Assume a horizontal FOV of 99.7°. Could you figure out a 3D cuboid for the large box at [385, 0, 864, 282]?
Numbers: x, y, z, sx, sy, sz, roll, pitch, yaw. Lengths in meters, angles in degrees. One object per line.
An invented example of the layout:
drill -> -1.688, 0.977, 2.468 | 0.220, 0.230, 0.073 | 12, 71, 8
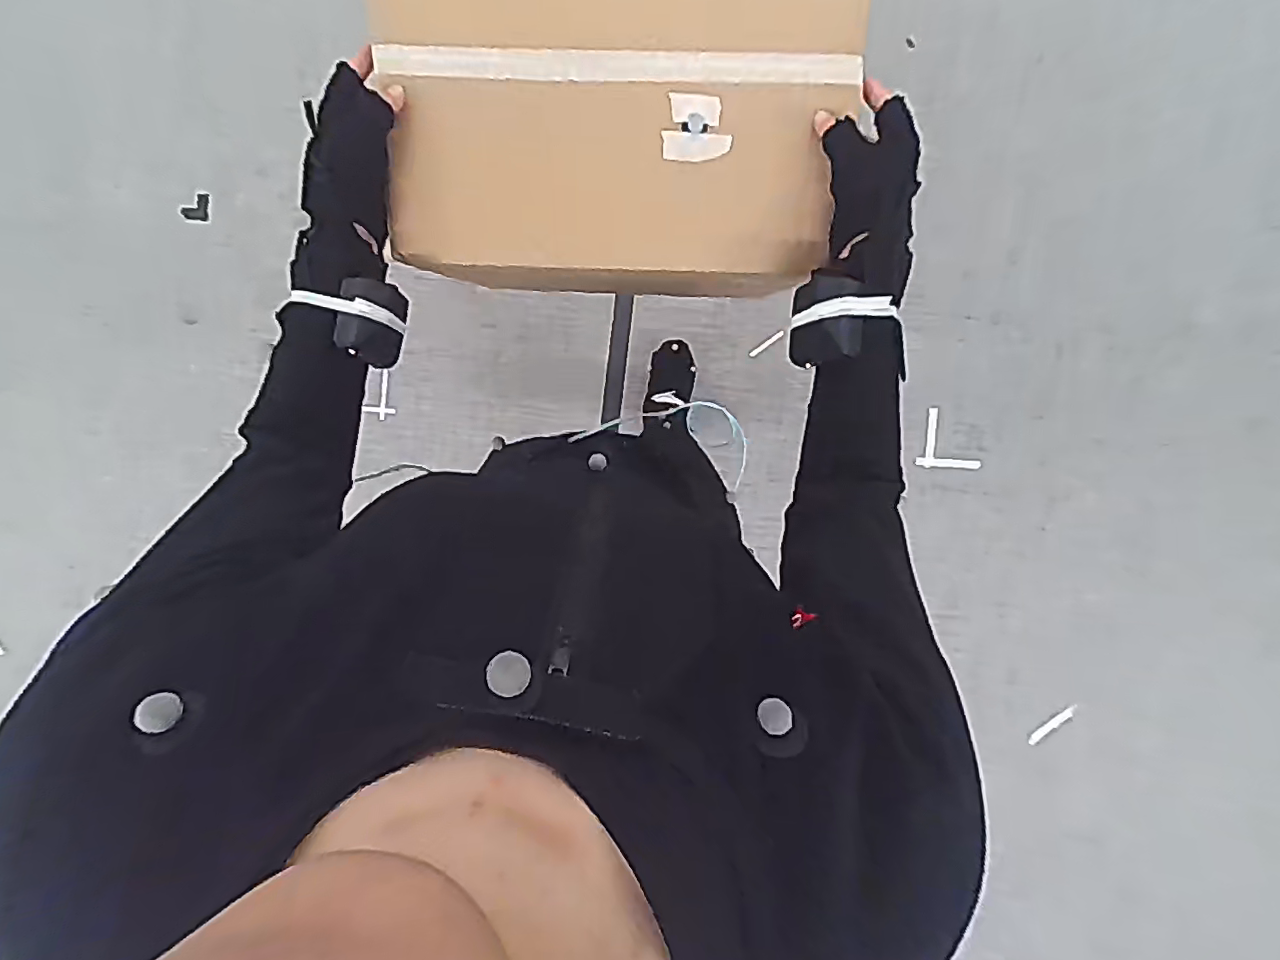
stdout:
large box -> -0.015, -0.397, 0.599 | 0.408, 0.320, 0.320 | 1, 106, 0
